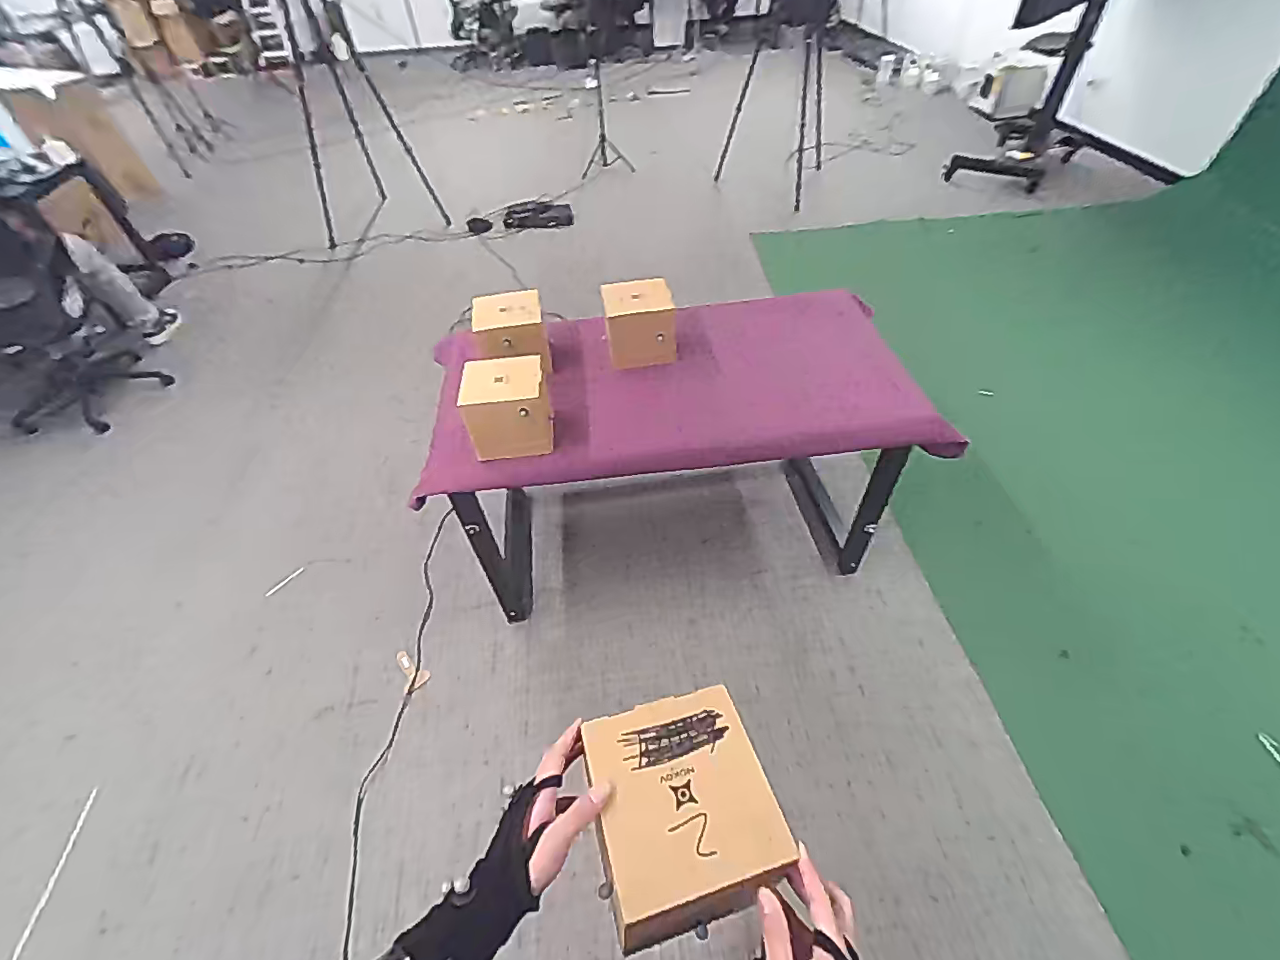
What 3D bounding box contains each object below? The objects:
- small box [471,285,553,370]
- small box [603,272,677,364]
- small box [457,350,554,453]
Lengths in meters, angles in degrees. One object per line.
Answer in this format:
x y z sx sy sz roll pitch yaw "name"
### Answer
-0.335 -0.391 1.436 0.179 0.176 0.168 -9 49 -5 "small box"
-0.001 -0.433 1.453 0.179 0.176 0.168 -8 48 -3 "small box"
-0.301 -0.176 1.244 0.179 0.176 0.168 -6 47 -3 "small box"
